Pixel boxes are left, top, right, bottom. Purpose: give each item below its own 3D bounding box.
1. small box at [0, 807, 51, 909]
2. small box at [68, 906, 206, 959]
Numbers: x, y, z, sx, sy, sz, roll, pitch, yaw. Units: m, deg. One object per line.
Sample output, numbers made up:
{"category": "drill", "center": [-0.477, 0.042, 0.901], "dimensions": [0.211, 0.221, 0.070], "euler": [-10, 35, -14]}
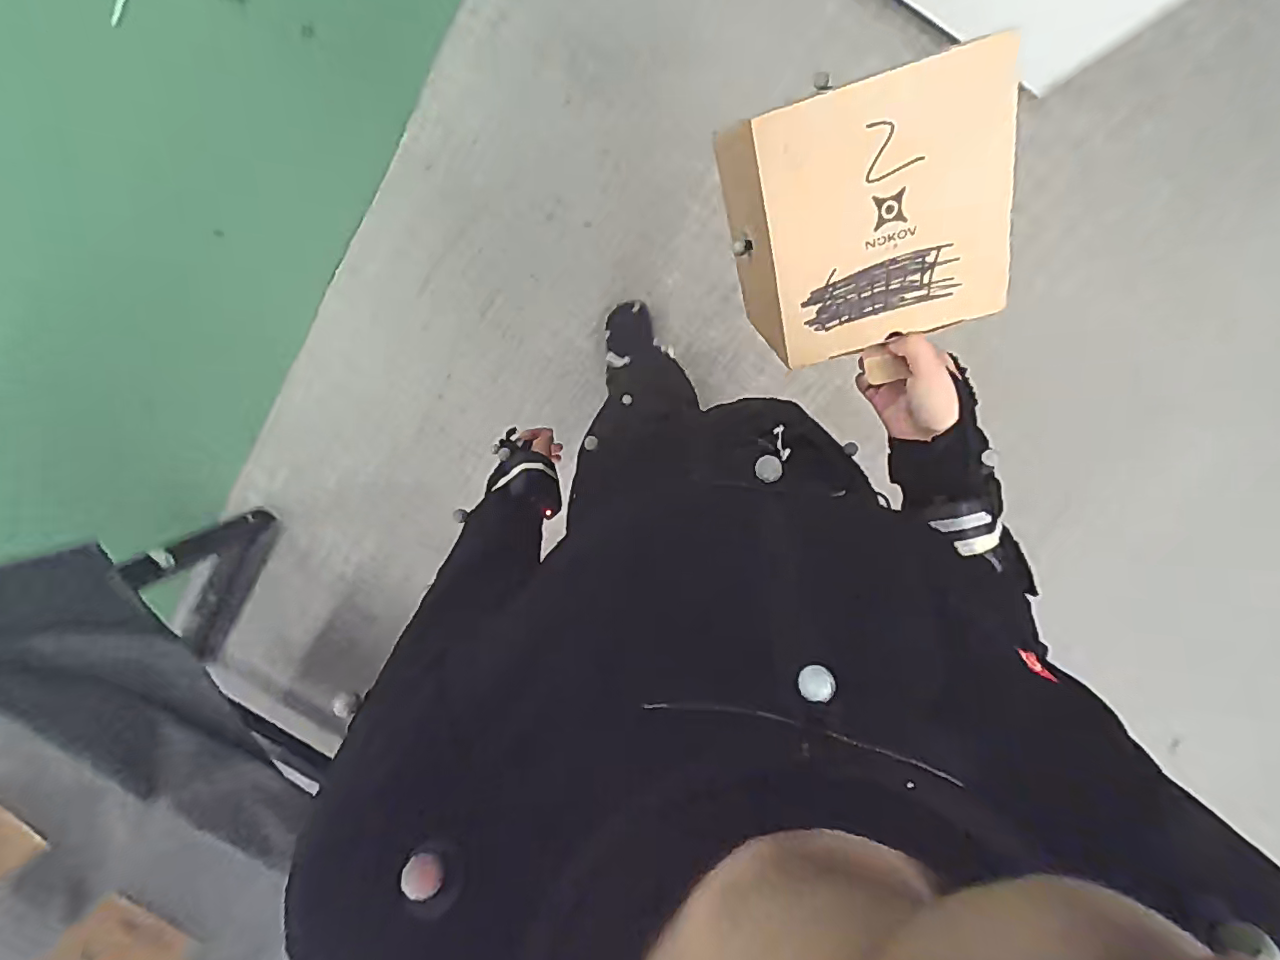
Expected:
{"category": "small box", "center": [-1.026, 0.598, 0.771], "dimensions": [0.179, 0.176, 0.168], "euler": [-39, 99, 12]}
{"category": "small box", "center": [-0.810, 0.799, 0.812], "dimensions": [0.168, 0.176, 0.179], "euler": [36, 106, -5]}
